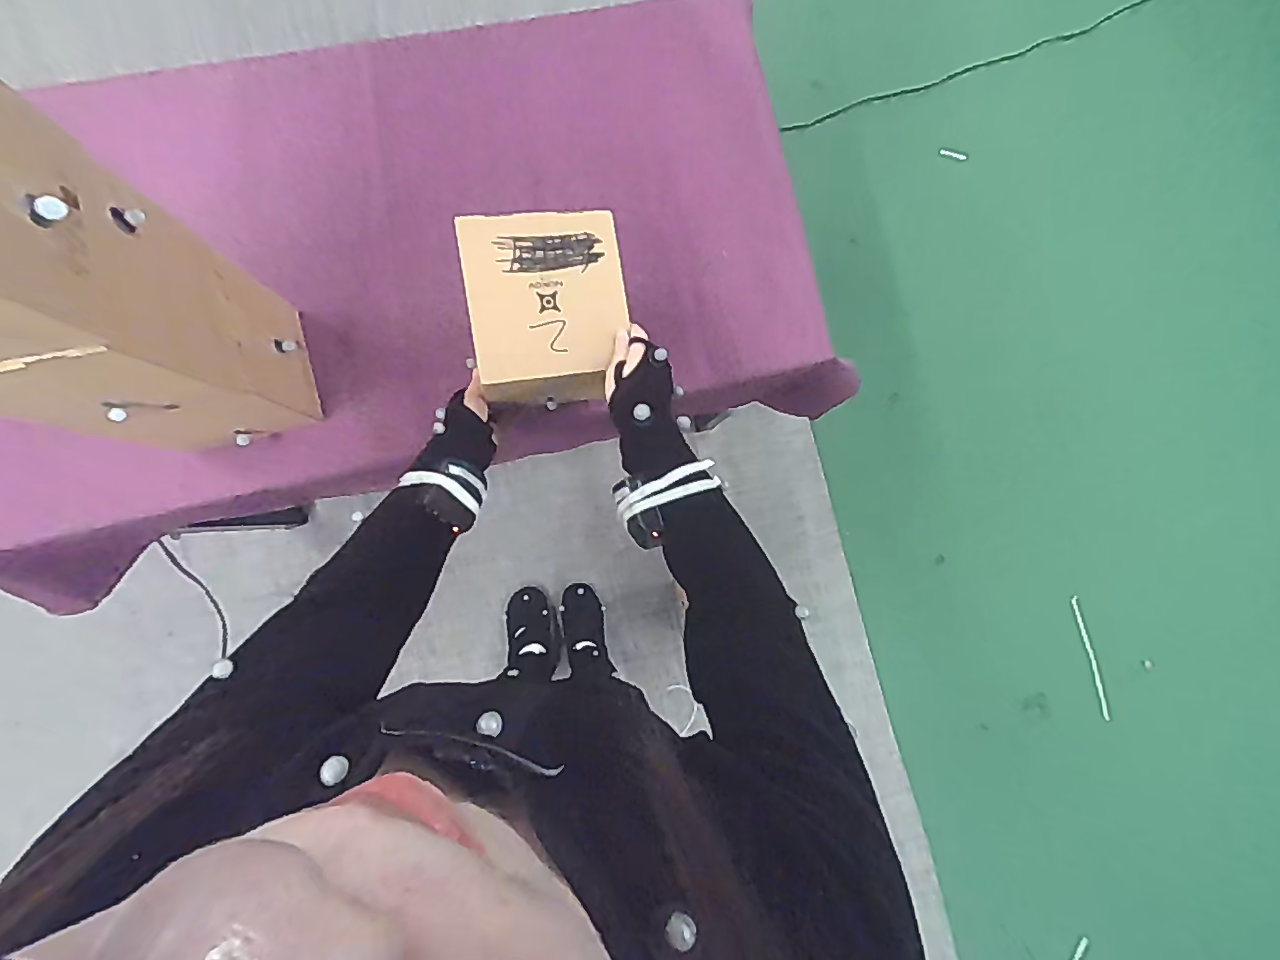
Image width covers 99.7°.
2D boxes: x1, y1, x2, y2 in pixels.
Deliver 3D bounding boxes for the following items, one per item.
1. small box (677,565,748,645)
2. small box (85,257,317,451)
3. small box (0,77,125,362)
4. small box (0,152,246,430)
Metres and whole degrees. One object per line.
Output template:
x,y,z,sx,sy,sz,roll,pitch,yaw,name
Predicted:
0.200,0.325,1.437,0.179,0.176,0.168,-10,87,-7,small box
-0.523,-0.141,0.657,0.179,0.176,0.168,-15,87,-8,small box
-0.486,-0.171,0.331,0.179,0.176,0.168,-12,87,-7,small box
-0.507,-0.157,0.493,0.168,0.176,0.179,-14,88,-6,small box
